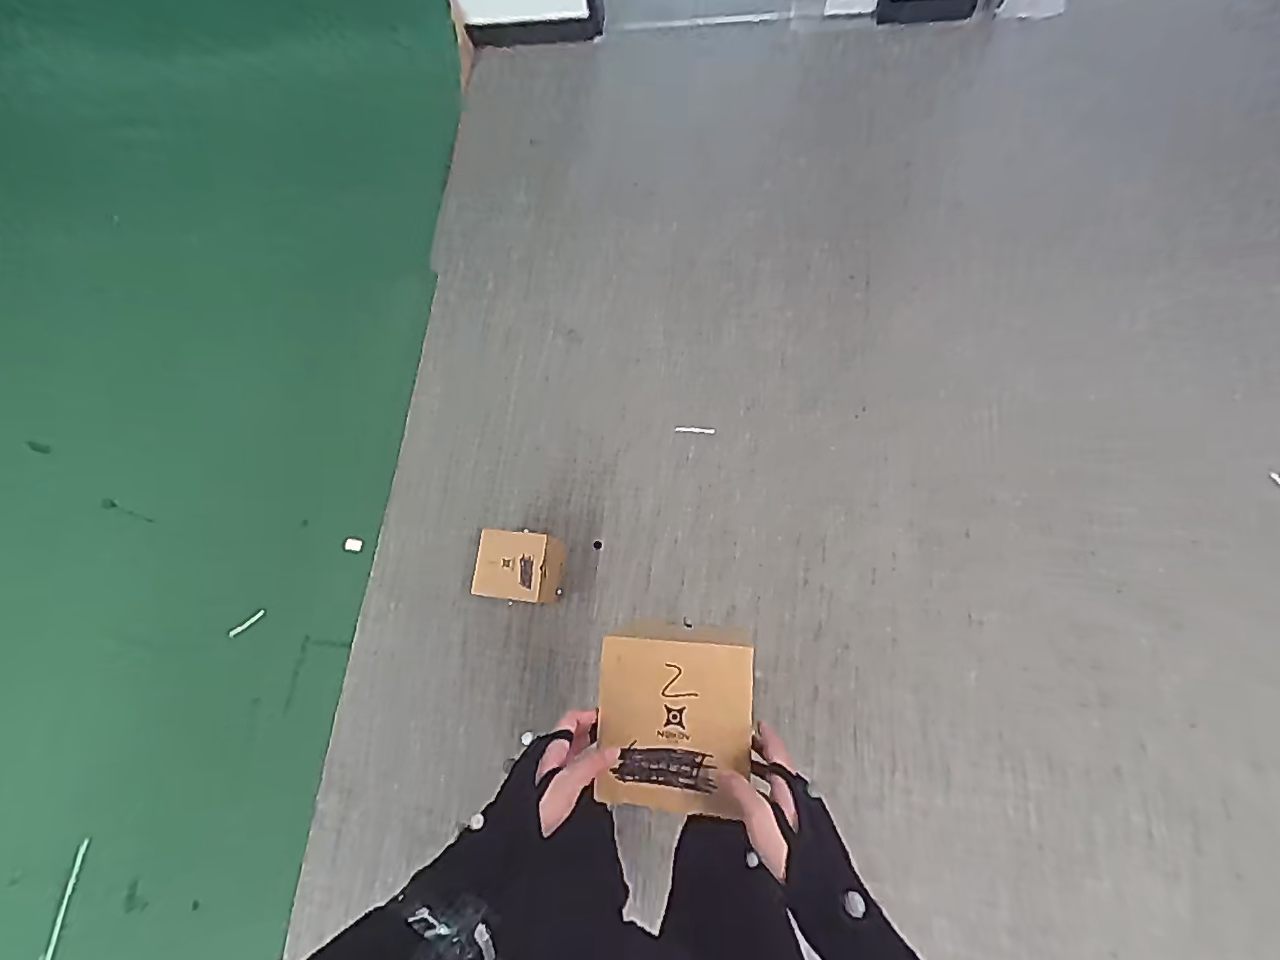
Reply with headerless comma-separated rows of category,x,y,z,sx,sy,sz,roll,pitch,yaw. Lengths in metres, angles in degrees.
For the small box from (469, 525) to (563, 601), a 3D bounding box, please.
small box,-0.309,0.217,1.386,0.179,0.176,0.168,5,76,10
